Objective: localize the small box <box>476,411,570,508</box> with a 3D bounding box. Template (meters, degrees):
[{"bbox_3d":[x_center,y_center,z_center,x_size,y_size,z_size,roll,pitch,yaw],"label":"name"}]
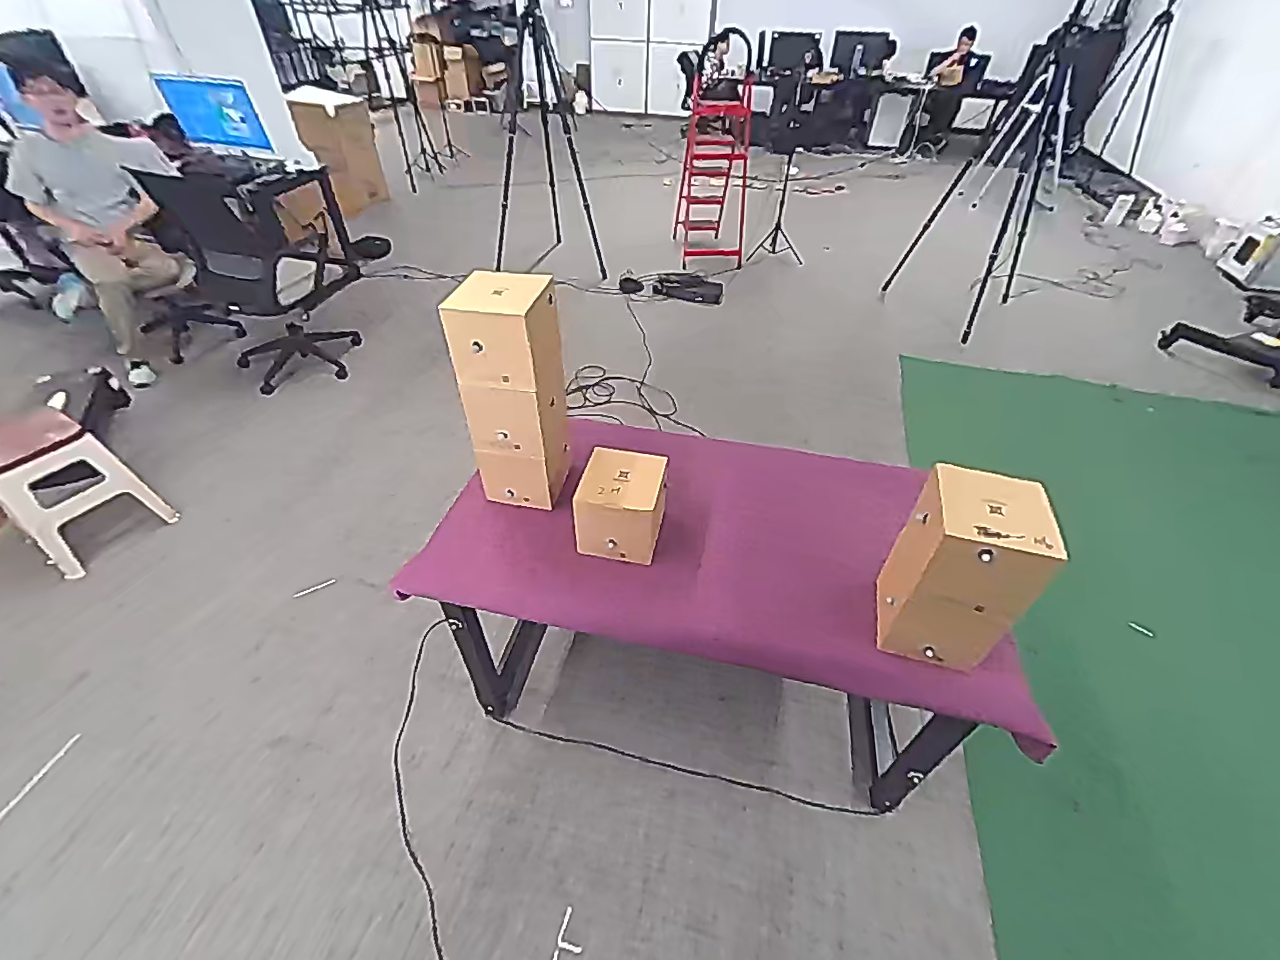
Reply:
[{"bbox_3d":[-0.270,-0.061,1.295,0.168,0.176,0.179,8,44,8],"label":"small box"}]

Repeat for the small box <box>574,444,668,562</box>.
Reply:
[{"bbox_3d":[-0.038,0.050,1.182,0.168,0.176,0.179,9,44,9],"label":"small box"}]

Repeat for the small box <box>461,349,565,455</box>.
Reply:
[{"bbox_3d":[-0.266,-0.181,1.184,0.168,0.176,0.179,8,44,8],"label":"small box"}]

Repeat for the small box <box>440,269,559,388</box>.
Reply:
[{"bbox_3d":[-0.265,-0.299,1.073,0.168,0.176,0.179,7,43,8],"label":"small box"}]

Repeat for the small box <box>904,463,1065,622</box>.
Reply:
[{"bbox_3d":[0.552,0.102,0.898,0.168,0.176,0.179,12,43,14],"label":"small box"}]
